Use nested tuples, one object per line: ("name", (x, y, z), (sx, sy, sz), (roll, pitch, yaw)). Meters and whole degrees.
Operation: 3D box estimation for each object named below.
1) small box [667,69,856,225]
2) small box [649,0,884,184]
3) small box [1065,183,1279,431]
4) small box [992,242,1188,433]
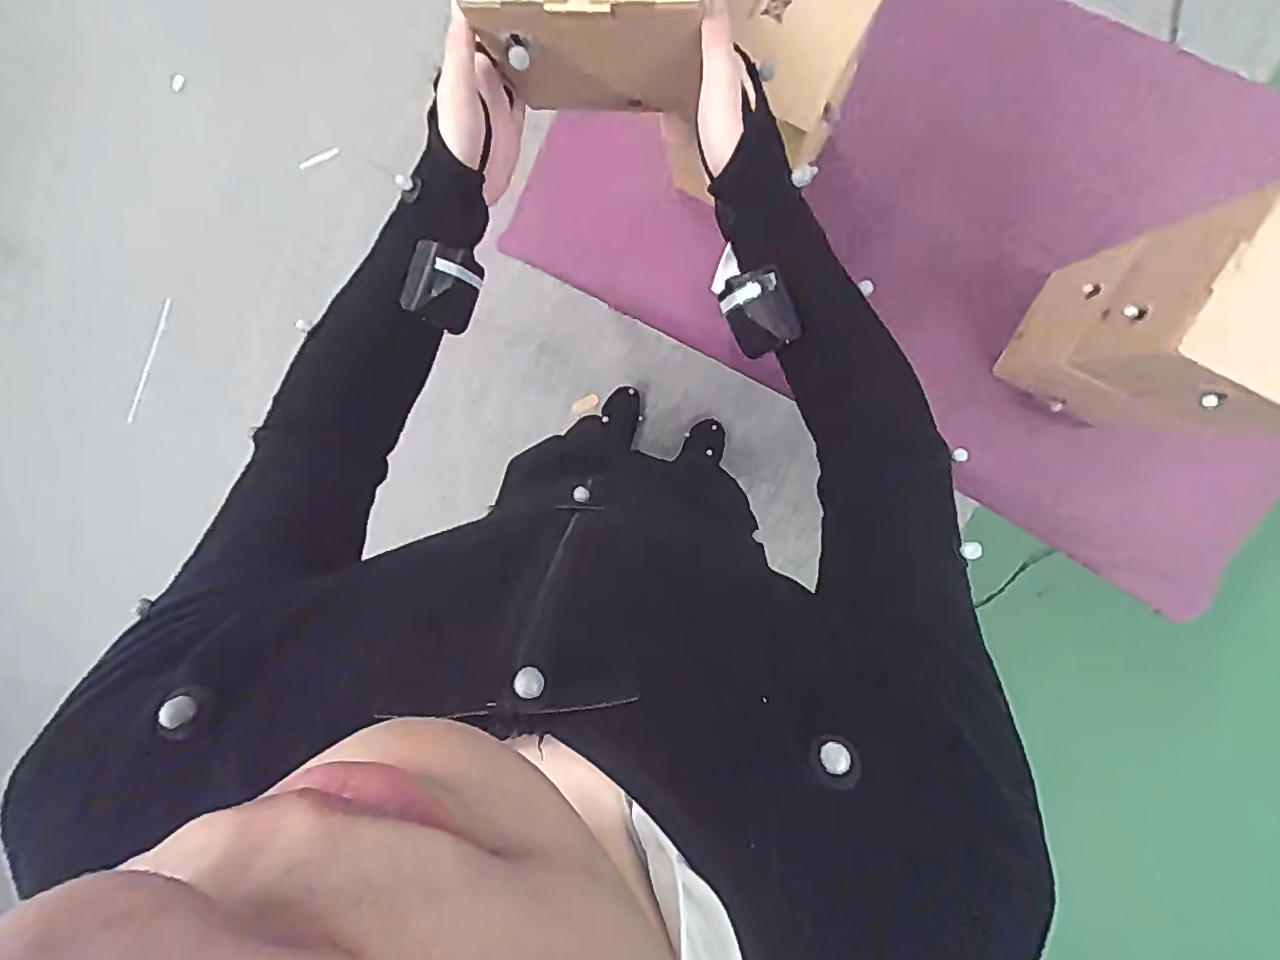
("small box", (0.157, -0.478, 0.739), (0.179, 0.176, 0.168), (30, 101, 3))
("small box", (0.133, -0.452, 0.581), (0.179, 0.176, 0.168), (30, 101, 3))
("small box", (0.601, -0.157, 0.553), (0.179, 0.176, 0.168), (30, 102, 3))
("small box", (0.623, -0.179, 0.714), (0.179, 0.176, 0.168), (29, 101, 3))
